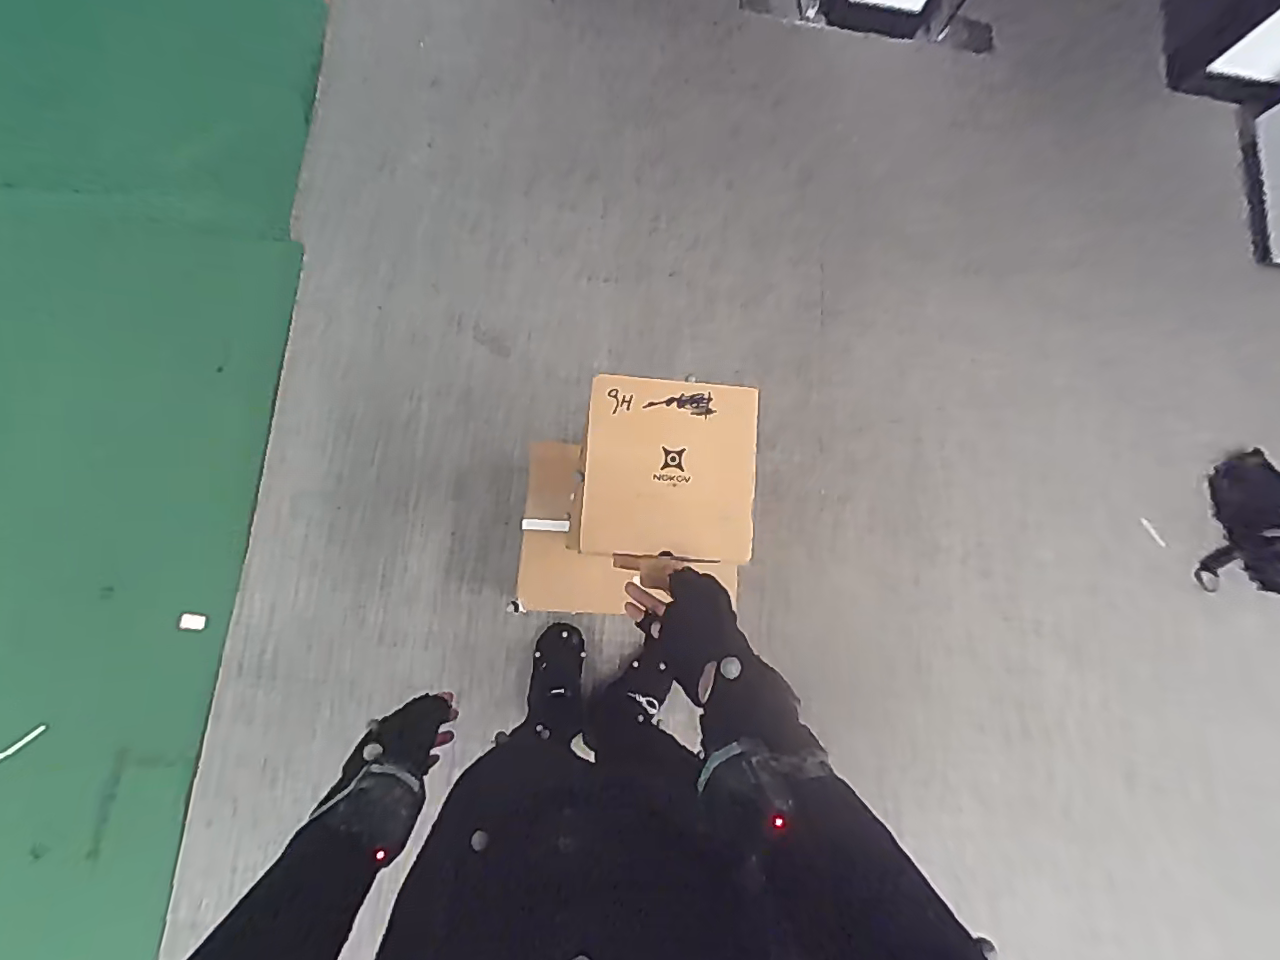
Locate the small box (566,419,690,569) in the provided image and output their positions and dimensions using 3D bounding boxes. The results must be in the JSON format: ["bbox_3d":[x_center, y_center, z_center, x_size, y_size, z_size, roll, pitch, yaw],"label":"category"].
[{"bbox_3d":[-0.010,0.027,0.765,0.168,0.176,0.179,7,81,-5],"label":"small box"}]

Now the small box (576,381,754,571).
[{"bbox_3d":[0.020,0.003,0.605,0.168,0.176,0.179,5,83,-5],"label":"small box"}]
